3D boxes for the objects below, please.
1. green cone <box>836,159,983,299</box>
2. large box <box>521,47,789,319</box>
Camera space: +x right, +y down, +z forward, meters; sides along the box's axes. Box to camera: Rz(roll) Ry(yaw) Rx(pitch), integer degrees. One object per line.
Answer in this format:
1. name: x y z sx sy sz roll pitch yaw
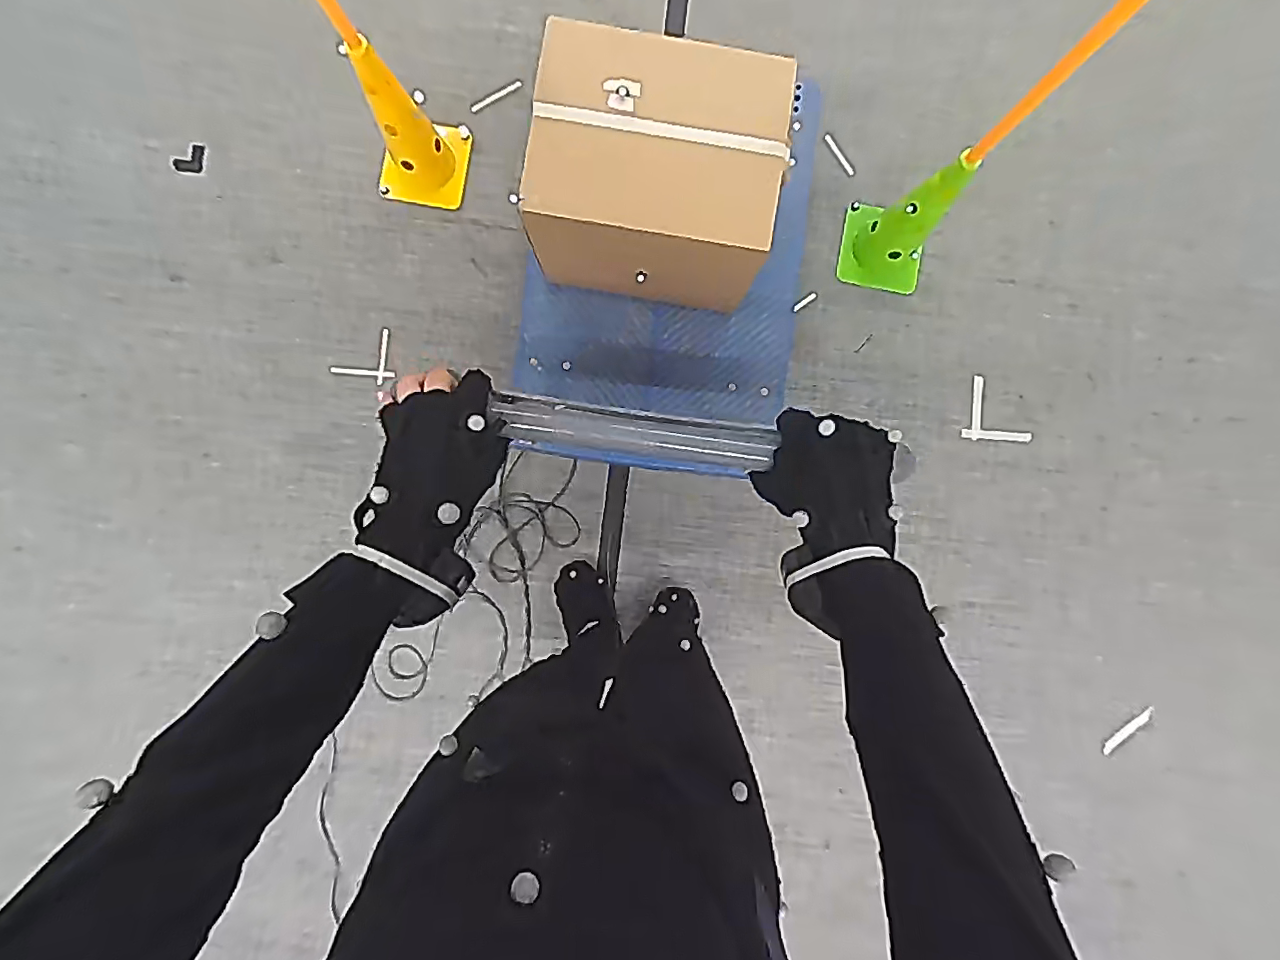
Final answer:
1. green cone: 0.603 -0.566 1.175 0.202 0.368 0.200 11 88 -2
2. large box: 0.027 -0.522 1.021 0.408 0.320 0.320 9 89 0
